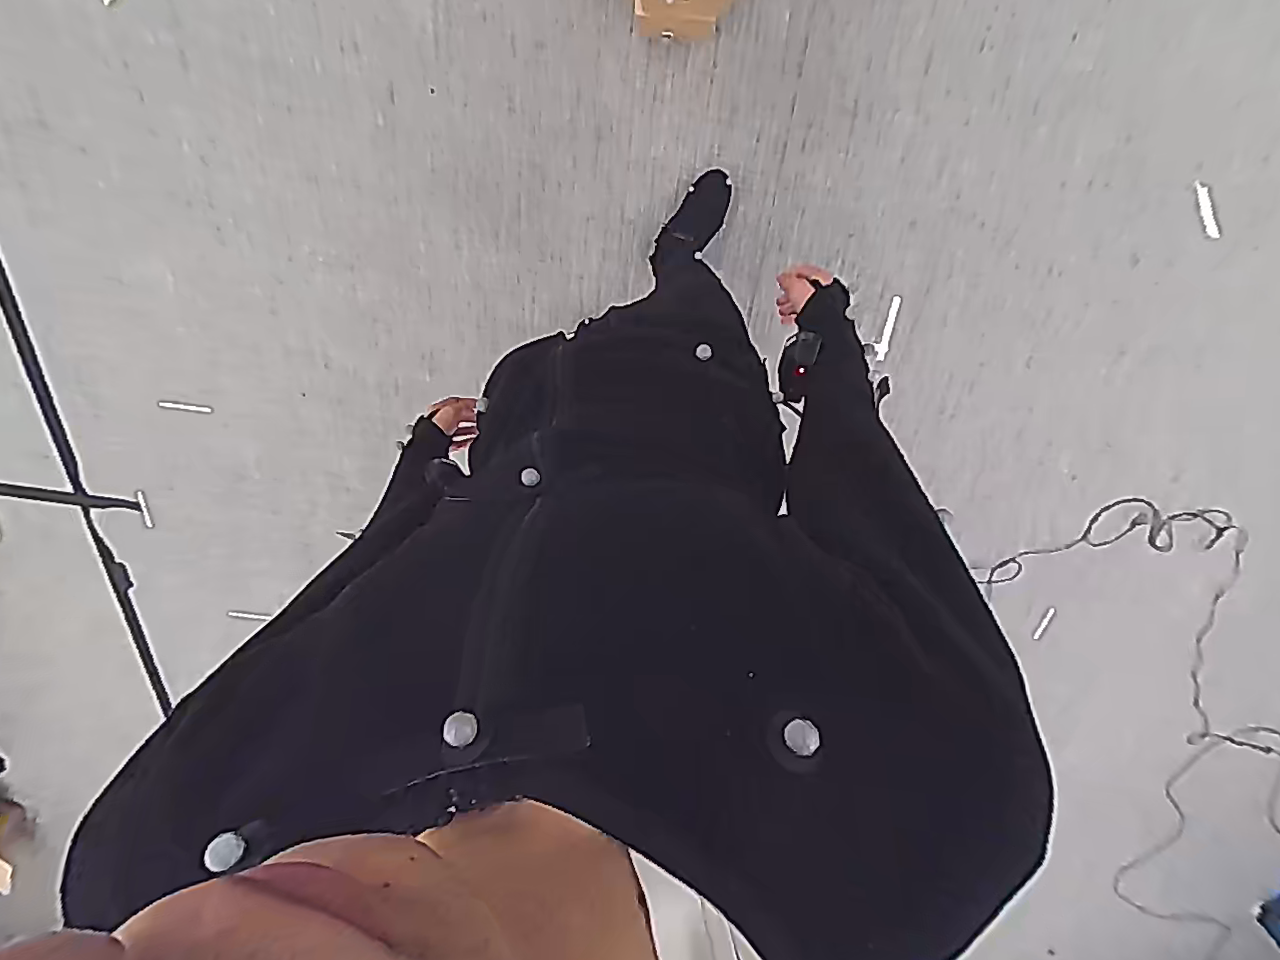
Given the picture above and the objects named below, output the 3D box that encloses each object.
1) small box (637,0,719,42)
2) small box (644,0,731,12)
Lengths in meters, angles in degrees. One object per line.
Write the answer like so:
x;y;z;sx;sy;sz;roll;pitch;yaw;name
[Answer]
0.082;-1.036;1.107;0.168;0.176;0.179;4;117;0;small box
0.091;-0.964;0.960;0.179;0.176;0.168;3;117;1;small box
